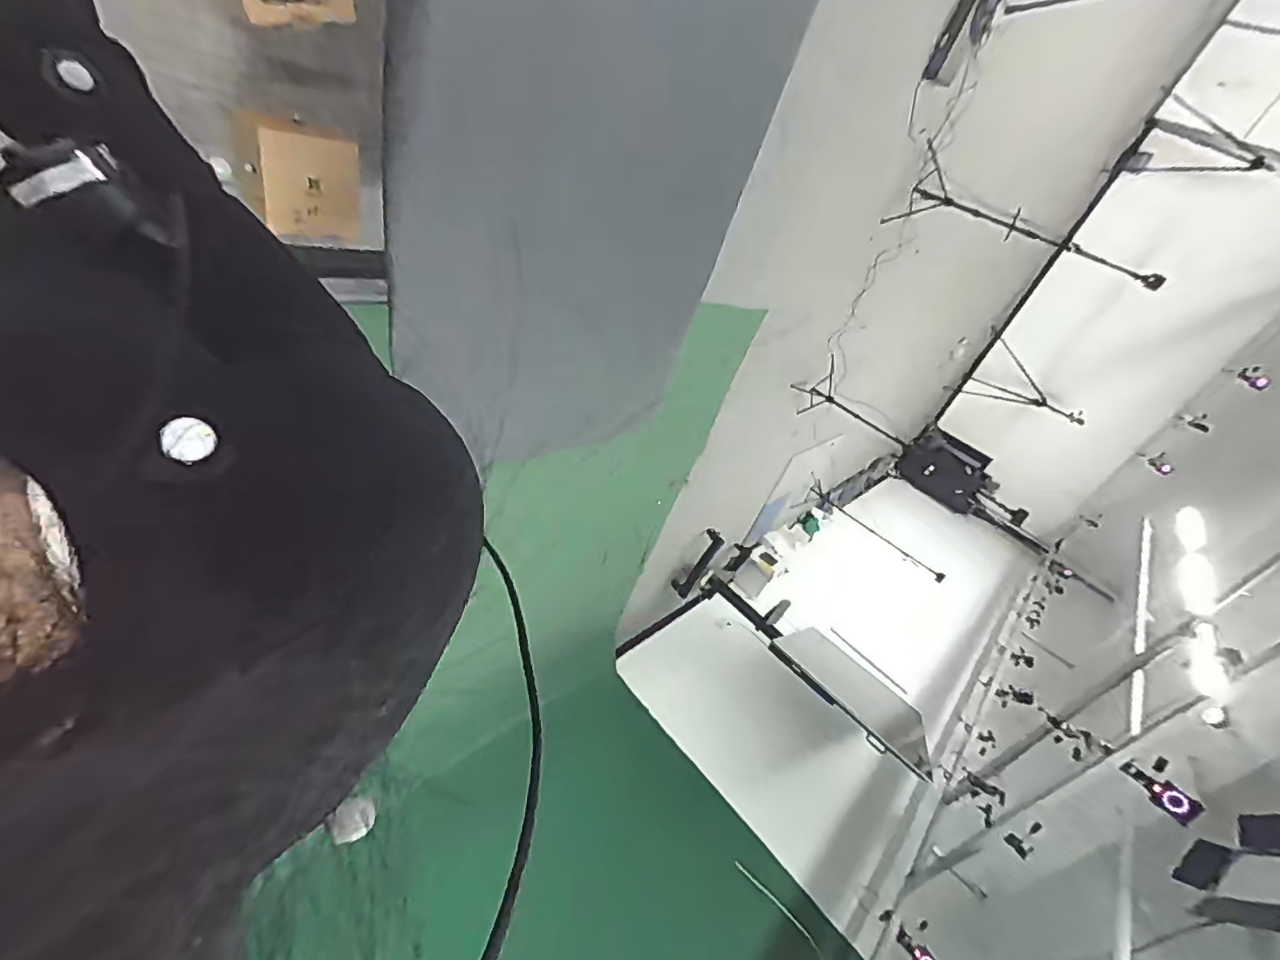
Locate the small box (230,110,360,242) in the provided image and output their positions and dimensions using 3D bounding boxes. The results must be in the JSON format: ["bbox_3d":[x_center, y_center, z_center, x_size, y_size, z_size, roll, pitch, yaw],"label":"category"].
[{"bbox_3d":[-0.662,-0.584,1.044,0.168,0.176,0.179,-20,141,-43],"label":"small box"}]
